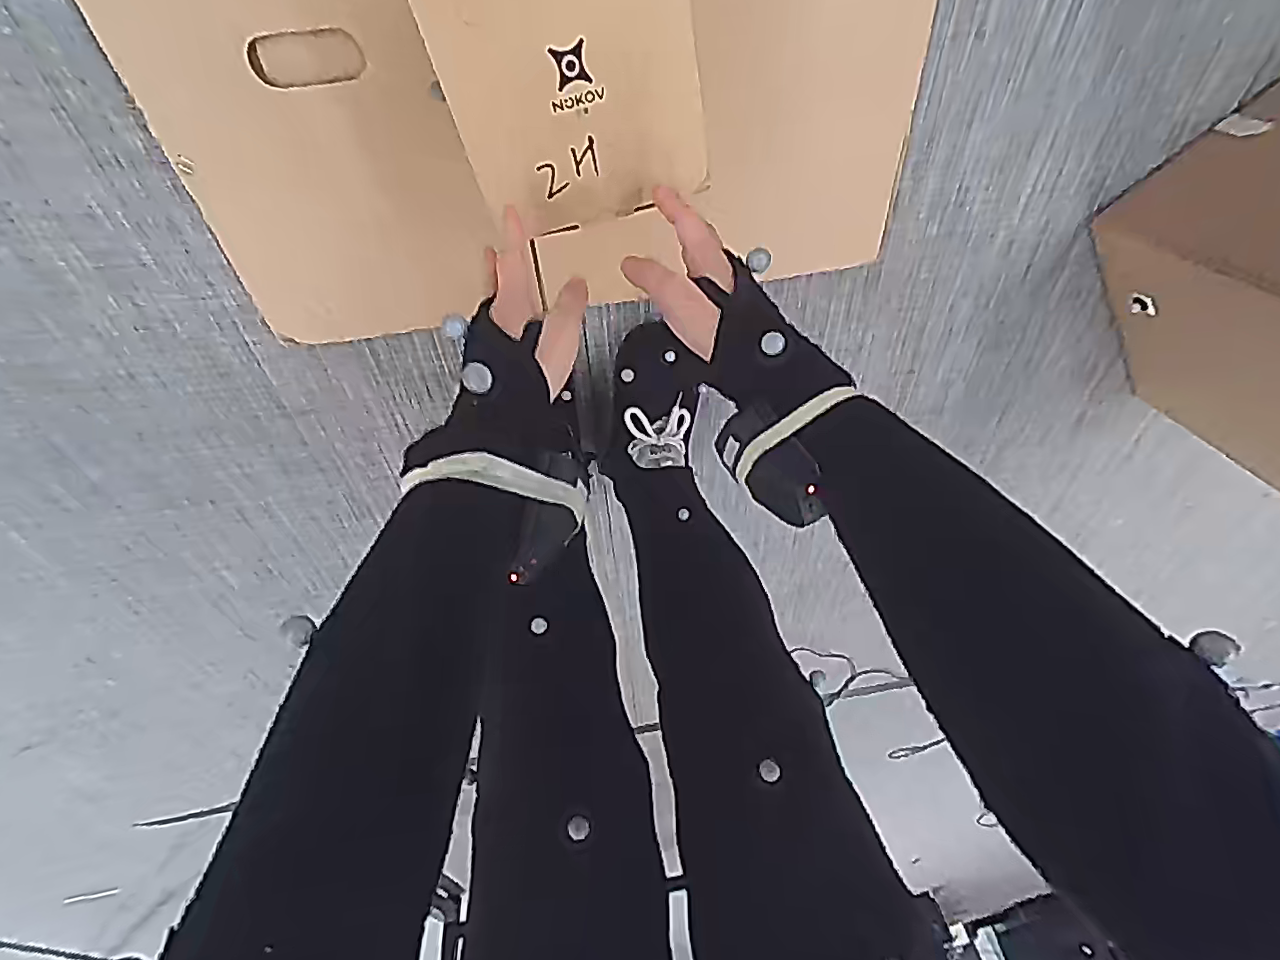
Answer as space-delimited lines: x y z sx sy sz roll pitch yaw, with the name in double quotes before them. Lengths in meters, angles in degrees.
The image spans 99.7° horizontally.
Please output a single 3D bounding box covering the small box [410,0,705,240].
"small box" -0.057 -0.315 0.410 0.168 0.176 0.179 -14 133 3
